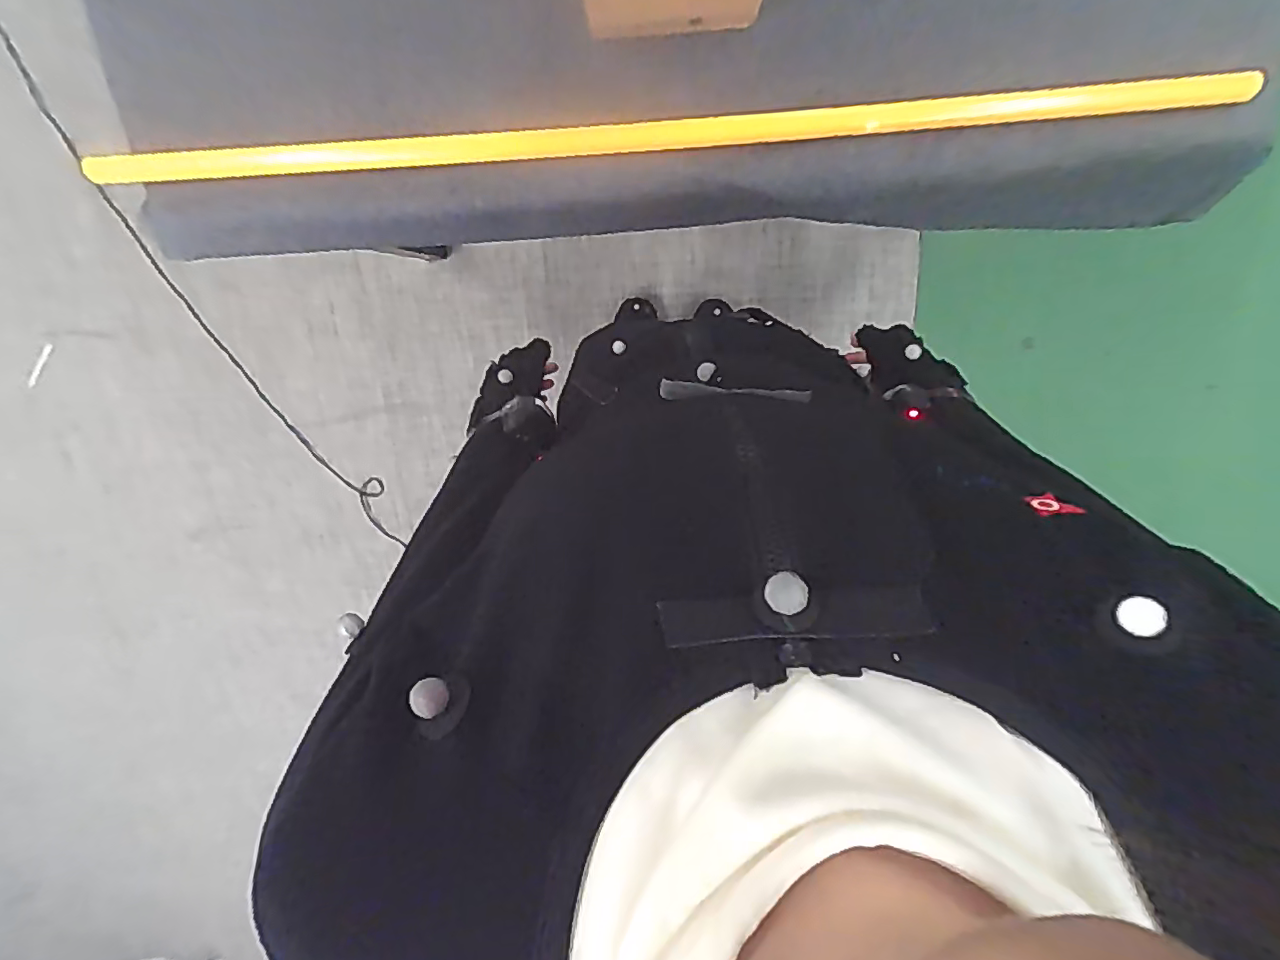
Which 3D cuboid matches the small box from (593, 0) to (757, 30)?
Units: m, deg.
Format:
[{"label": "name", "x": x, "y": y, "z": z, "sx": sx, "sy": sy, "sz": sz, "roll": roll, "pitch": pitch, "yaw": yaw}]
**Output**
[{"label": "small box", "x": 0.028, "y": -0.520, "z": 0.445, "sx": 0.168, "sy": 0.176, "sz": 0.179, "roll": -3, "pitch": 108, "yaw": 3}]
